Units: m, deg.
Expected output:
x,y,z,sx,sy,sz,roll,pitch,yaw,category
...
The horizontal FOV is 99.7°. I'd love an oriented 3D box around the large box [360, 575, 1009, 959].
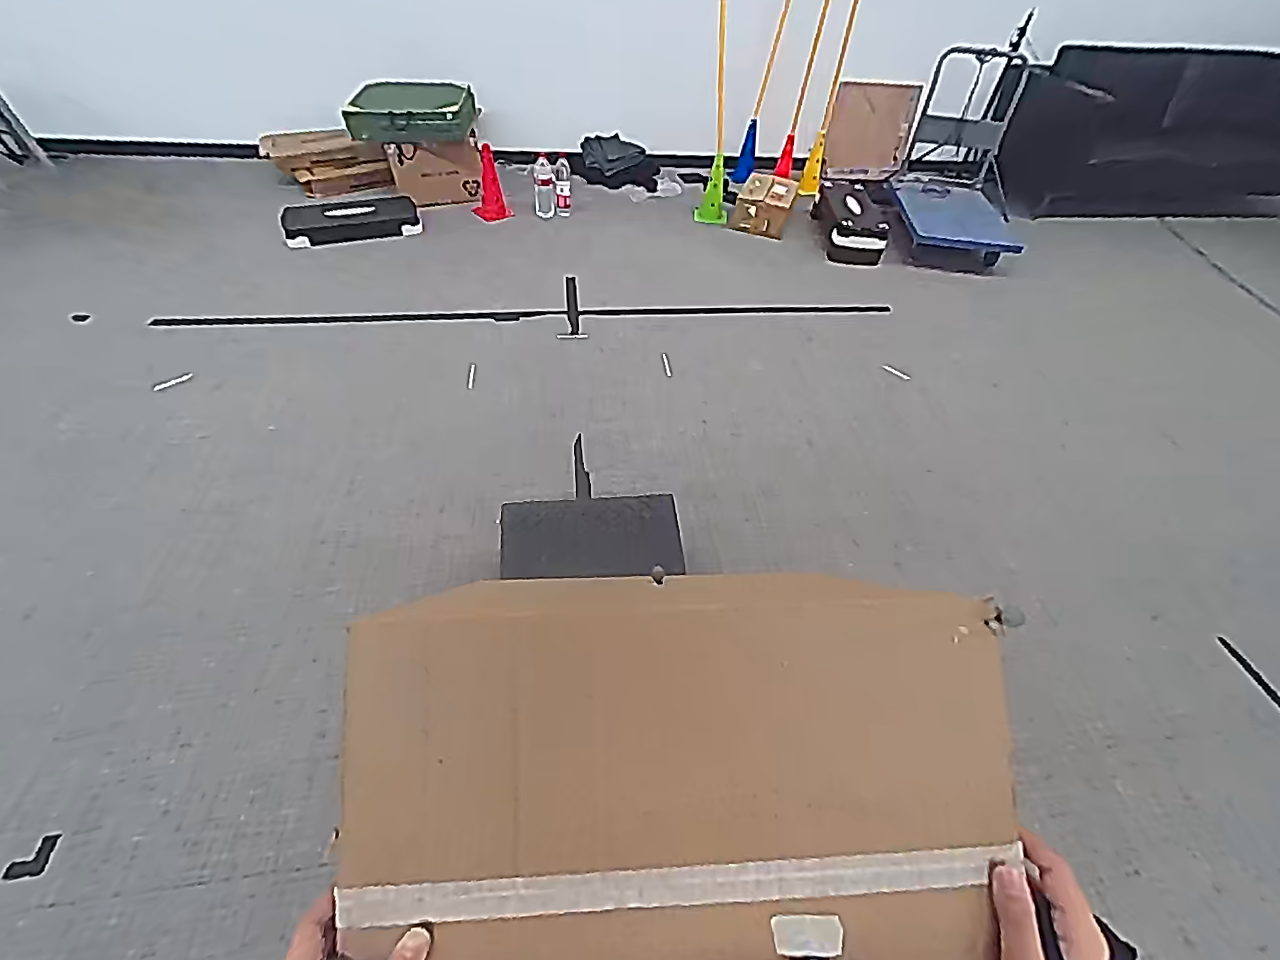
x,y,z,sx,sy,sz,roll,pitch,yaw,category
0.020,0.256,0.482,0.408,0.320,0.320,-2,85,-4,large box
